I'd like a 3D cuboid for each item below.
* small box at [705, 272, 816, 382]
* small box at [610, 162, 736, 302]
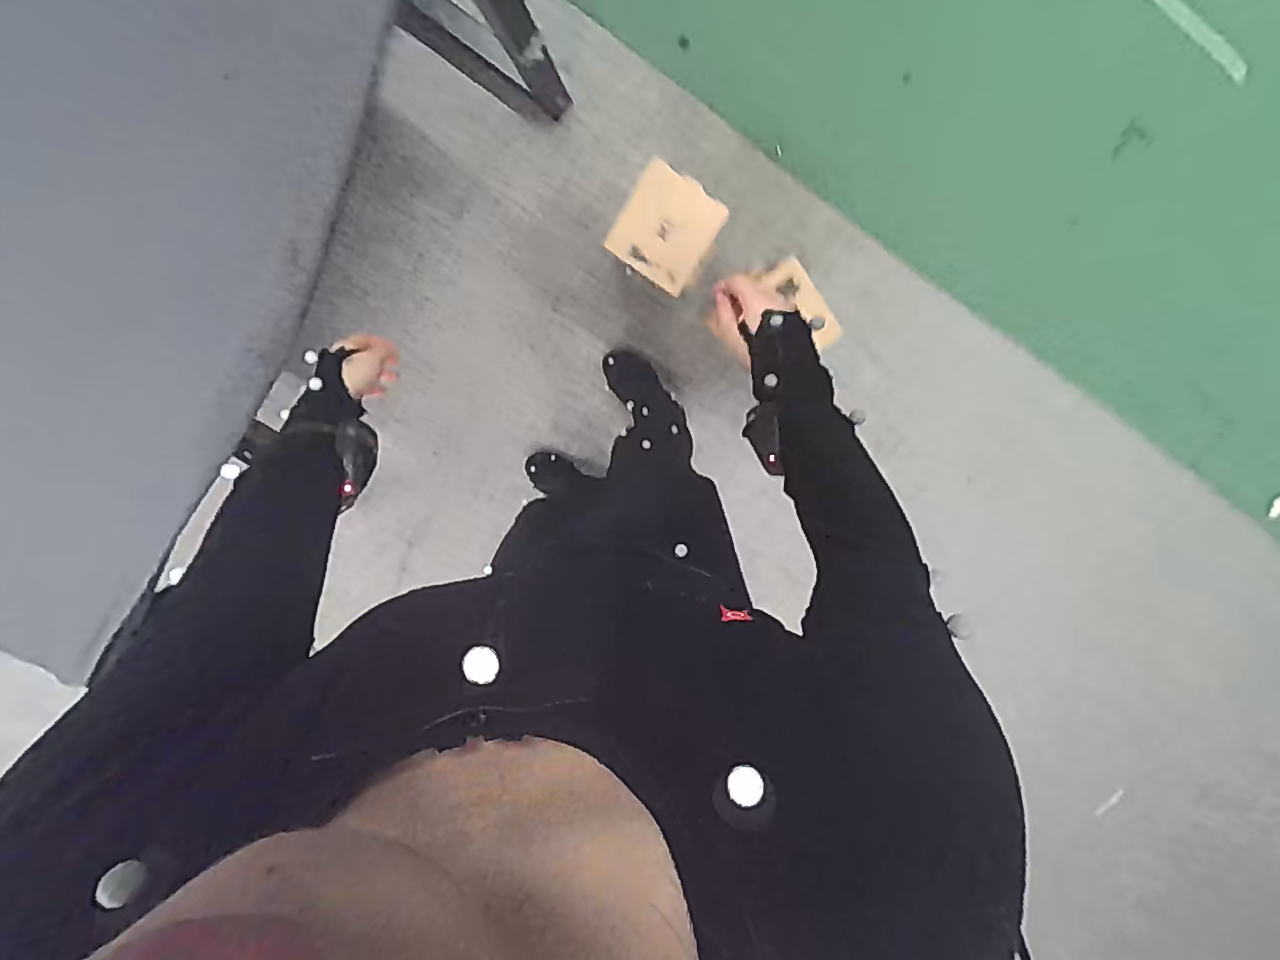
[{"bbox_3d":[0.267,-0.354,1.243,0.179,0.176,0.168,42,105,-10],"label":"small box"},{"bbox_3d":[0.057,-0.466,1.043,0.168,0.176,0.179,34,106,-11],"label":"small box"}]
